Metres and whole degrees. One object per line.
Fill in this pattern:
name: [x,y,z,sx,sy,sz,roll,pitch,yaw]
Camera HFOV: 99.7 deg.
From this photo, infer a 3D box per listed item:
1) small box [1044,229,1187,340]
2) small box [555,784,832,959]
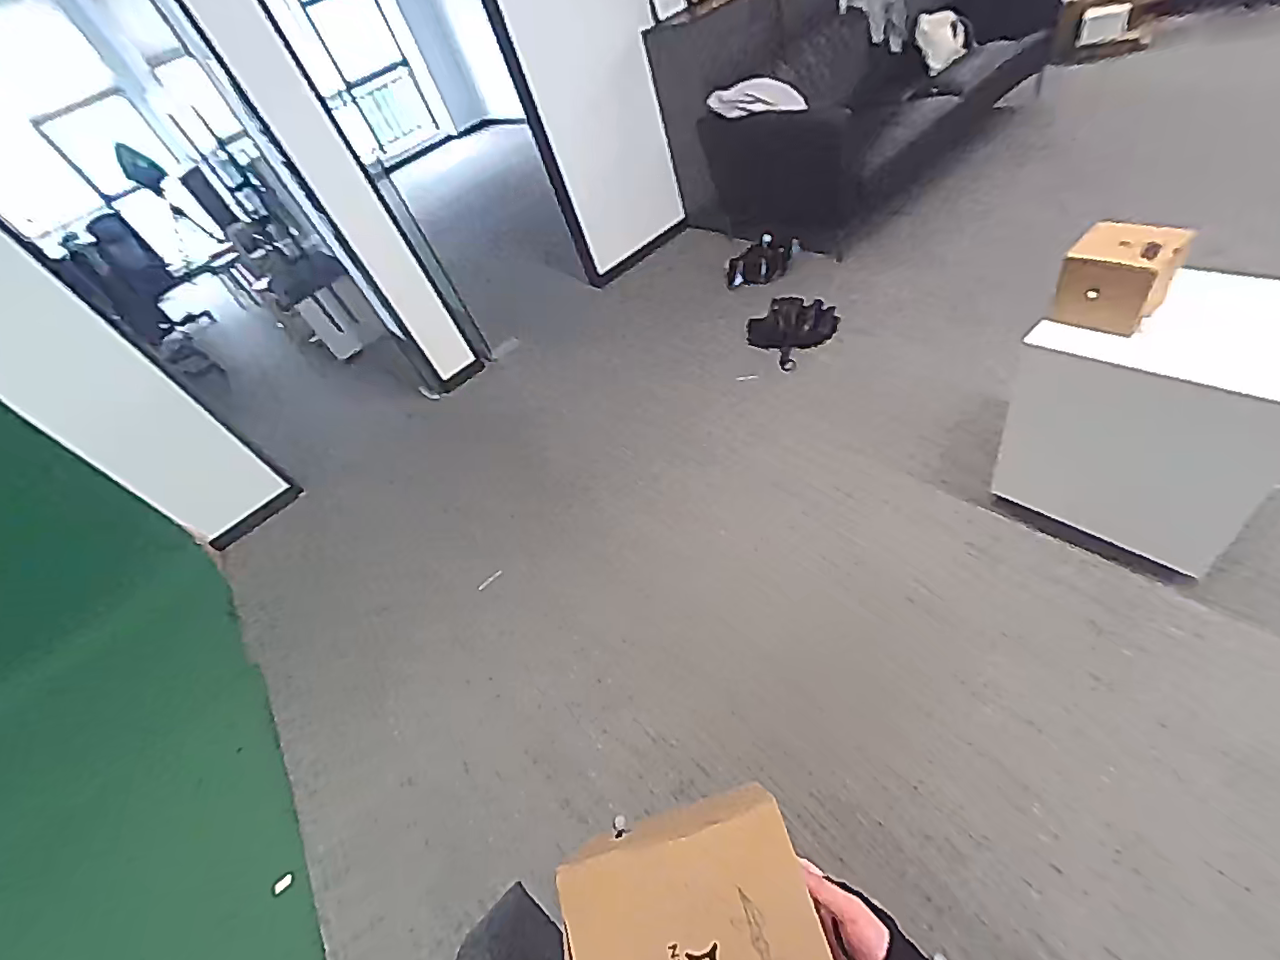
small box: [1.073,-0.445,1.235,0.168,0.176,0.179,-39,46,-17]
small box: [0.050,0.366,0.437,0.179,0.176,0.168,-18,65,-3]
